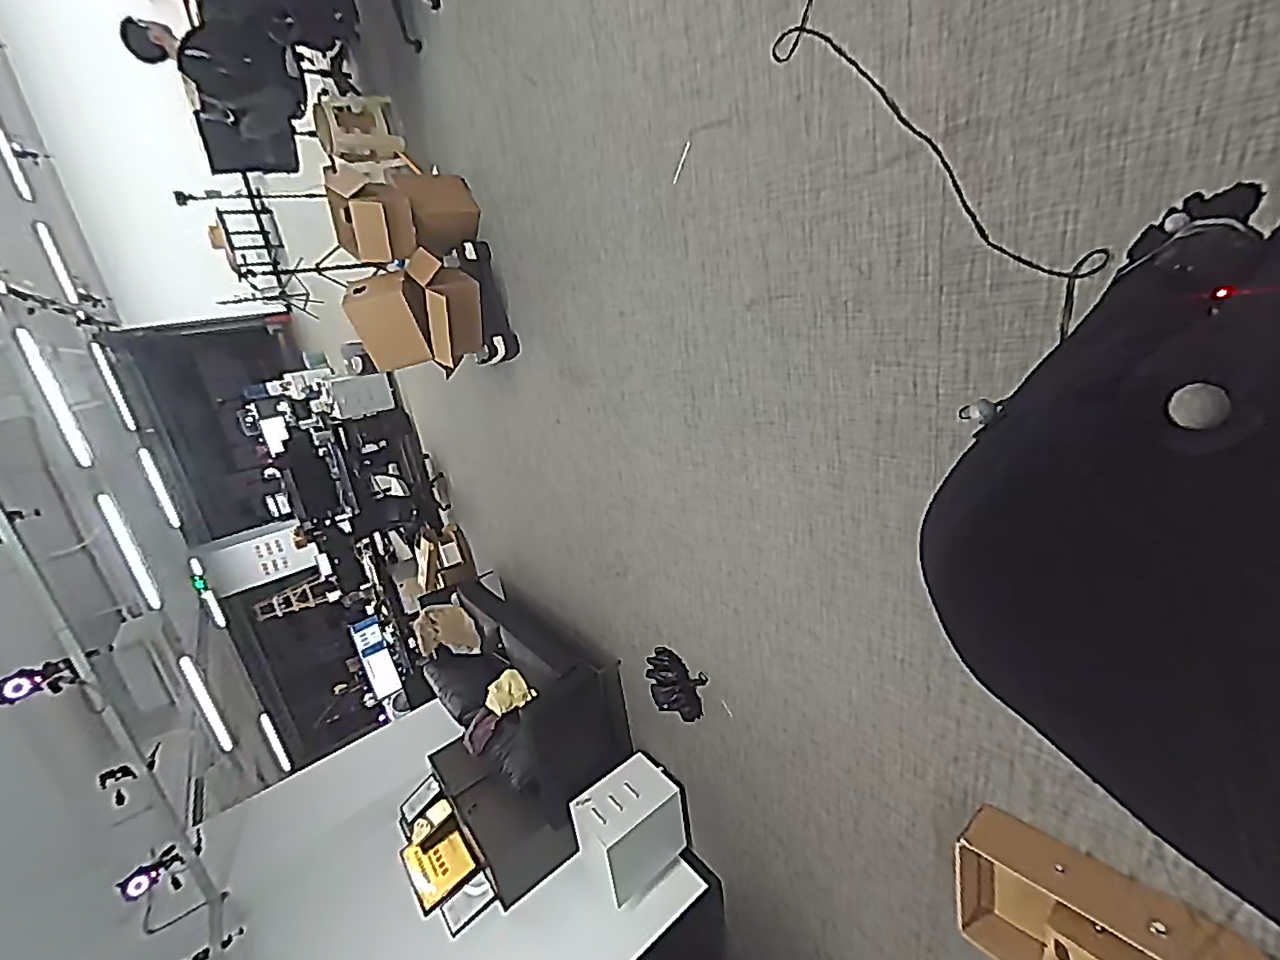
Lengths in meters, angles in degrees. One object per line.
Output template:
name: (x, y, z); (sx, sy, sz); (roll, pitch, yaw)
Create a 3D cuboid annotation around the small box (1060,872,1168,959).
small box: (1.248, 1.189, 1.427); (0.179, 0.176, 0.168); (12, 120, 51)
